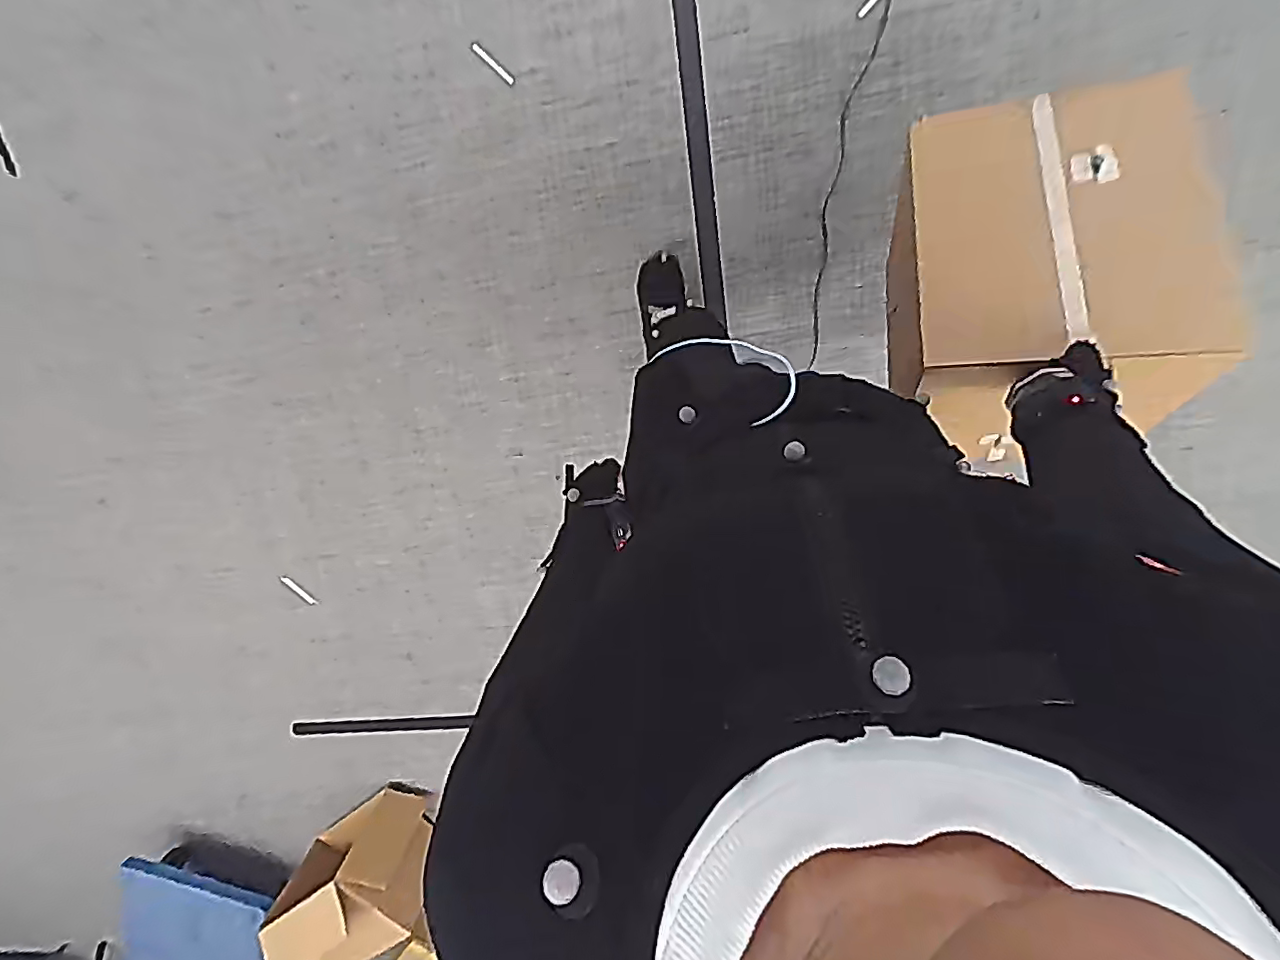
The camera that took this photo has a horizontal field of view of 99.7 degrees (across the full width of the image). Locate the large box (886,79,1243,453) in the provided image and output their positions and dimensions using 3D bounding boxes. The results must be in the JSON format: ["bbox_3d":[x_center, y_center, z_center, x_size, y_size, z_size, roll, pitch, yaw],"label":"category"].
[{"bbox_3d":[0.562,-0.281,0.817,0.320,0.320,0.408,0,71,17],"label":"large box"}]
